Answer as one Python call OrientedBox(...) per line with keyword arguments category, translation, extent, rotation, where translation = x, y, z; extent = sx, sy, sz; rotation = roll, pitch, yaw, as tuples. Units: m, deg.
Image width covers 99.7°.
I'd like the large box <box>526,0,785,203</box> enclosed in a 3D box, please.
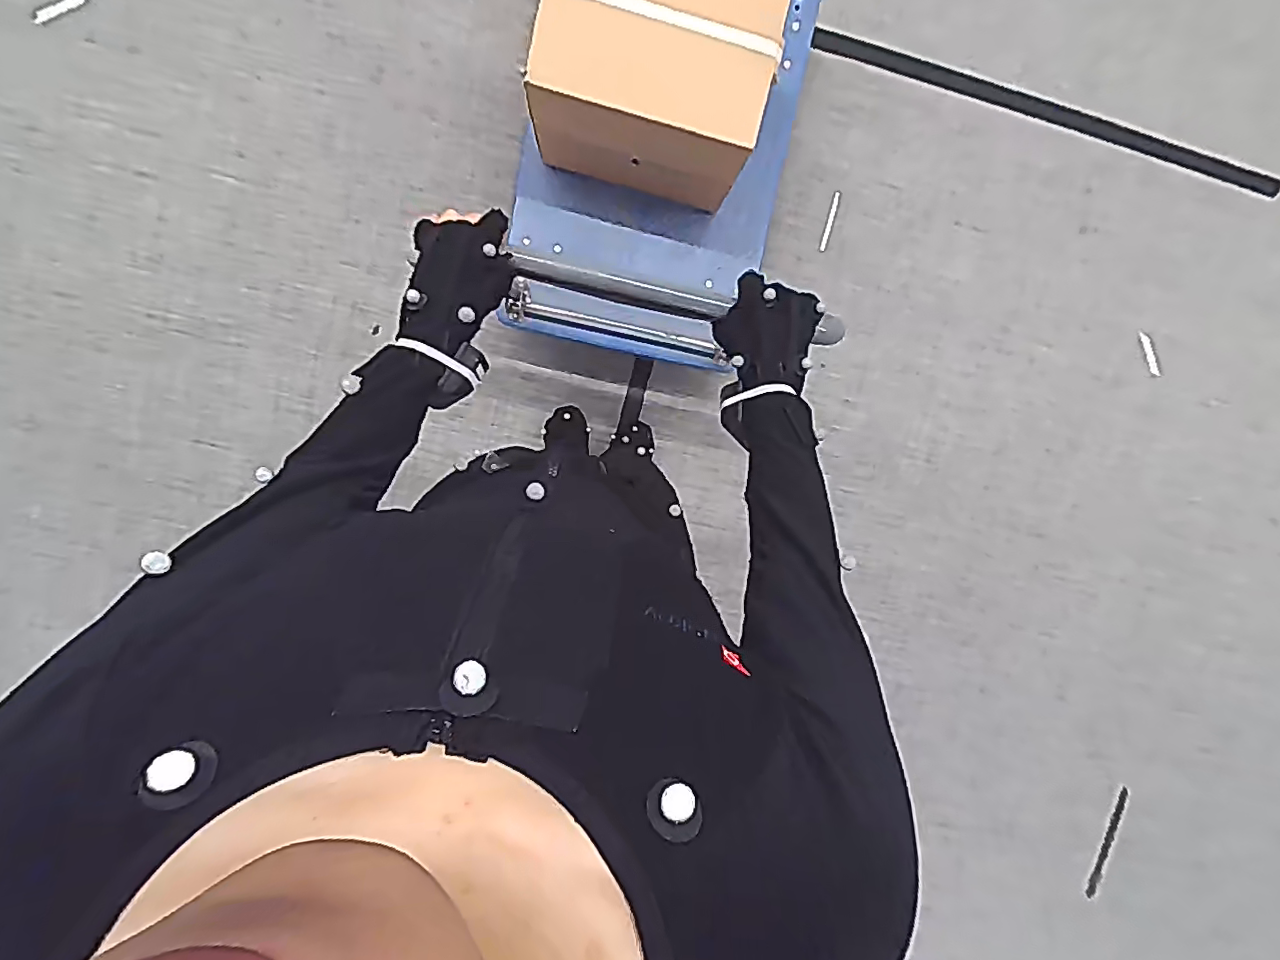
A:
OrientedBox(category="large box", translation=(0.026, -0.791, 1.053), extent=(0.408, 0.320, 0.320), rotation=(13, 97, -5))
